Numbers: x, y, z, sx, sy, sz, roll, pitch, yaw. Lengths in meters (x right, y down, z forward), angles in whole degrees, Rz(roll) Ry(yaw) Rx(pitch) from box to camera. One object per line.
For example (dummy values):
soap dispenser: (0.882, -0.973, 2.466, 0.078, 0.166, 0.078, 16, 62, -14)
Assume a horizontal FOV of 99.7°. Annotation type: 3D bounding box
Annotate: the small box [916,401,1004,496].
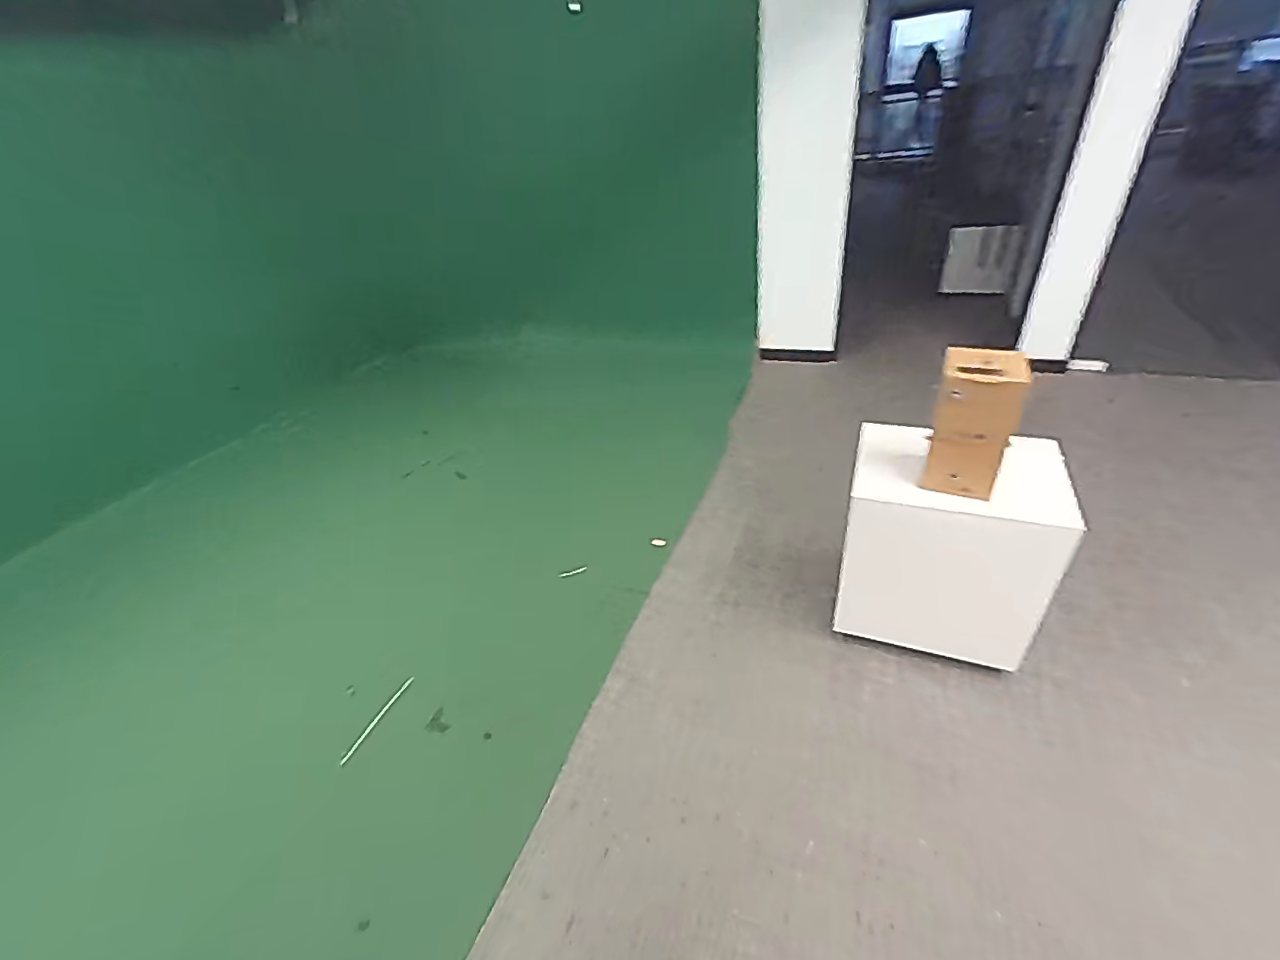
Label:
small box: (0.833, -0.085, 1.411, 0.168, 0.176, 0.179, 12, 40, 26)
